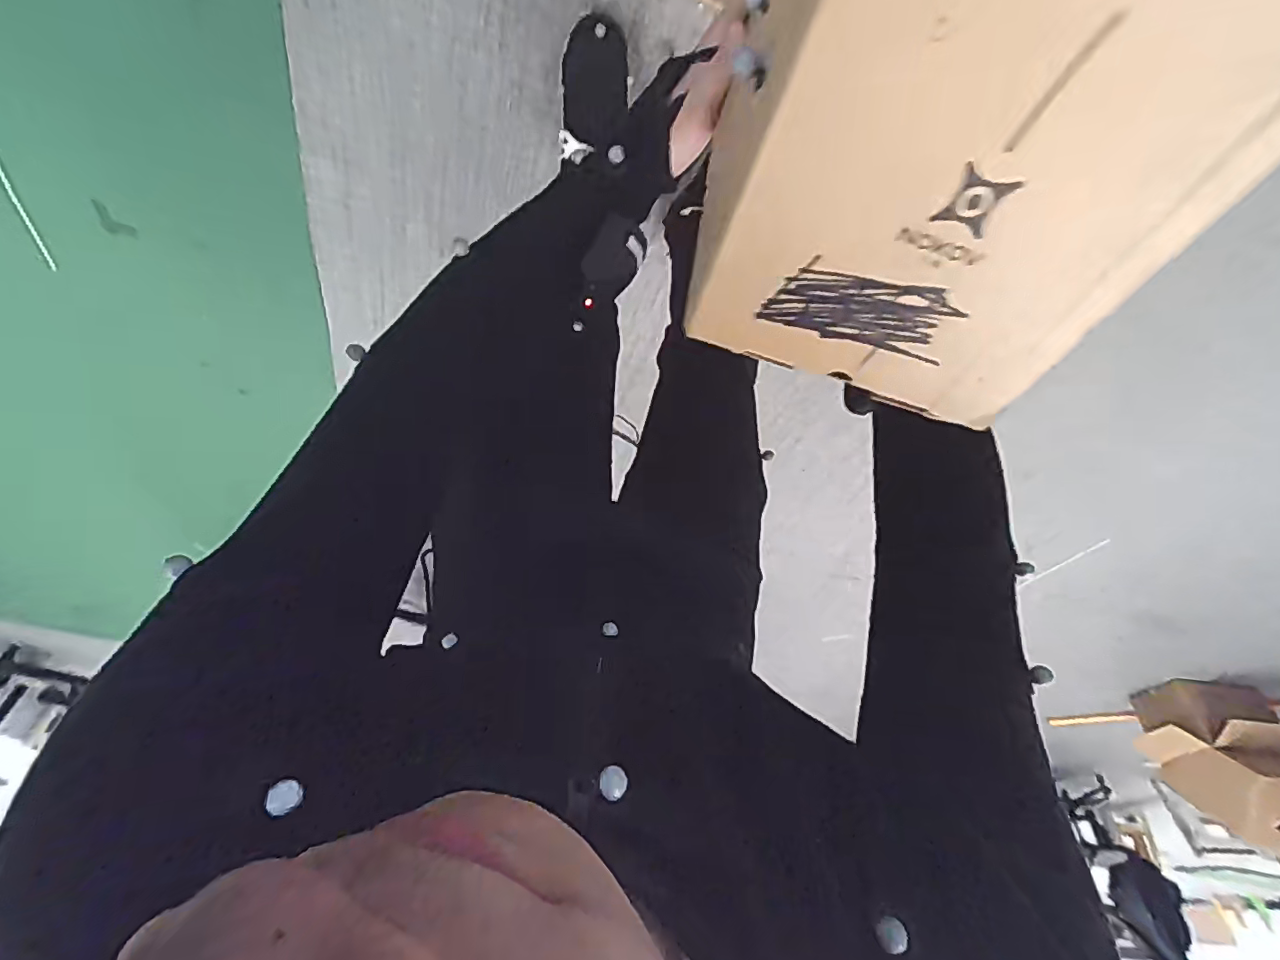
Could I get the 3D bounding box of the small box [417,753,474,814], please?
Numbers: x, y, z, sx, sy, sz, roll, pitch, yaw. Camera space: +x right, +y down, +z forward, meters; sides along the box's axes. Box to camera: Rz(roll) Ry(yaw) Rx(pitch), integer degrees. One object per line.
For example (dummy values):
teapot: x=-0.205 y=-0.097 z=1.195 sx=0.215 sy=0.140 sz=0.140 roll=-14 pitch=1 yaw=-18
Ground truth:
small box: x=-0.750 y=1.176 z=2.094 sx=0.168 sy=0.176 sz=0.179 roll=16 pitch=139 yaw=-12

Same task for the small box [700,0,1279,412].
small box: x=0.141 y=-0.169 z=0.259 sx=0.168 sy=0.176 sz=0.179 roll=16 pitch=141 yaw=-7
